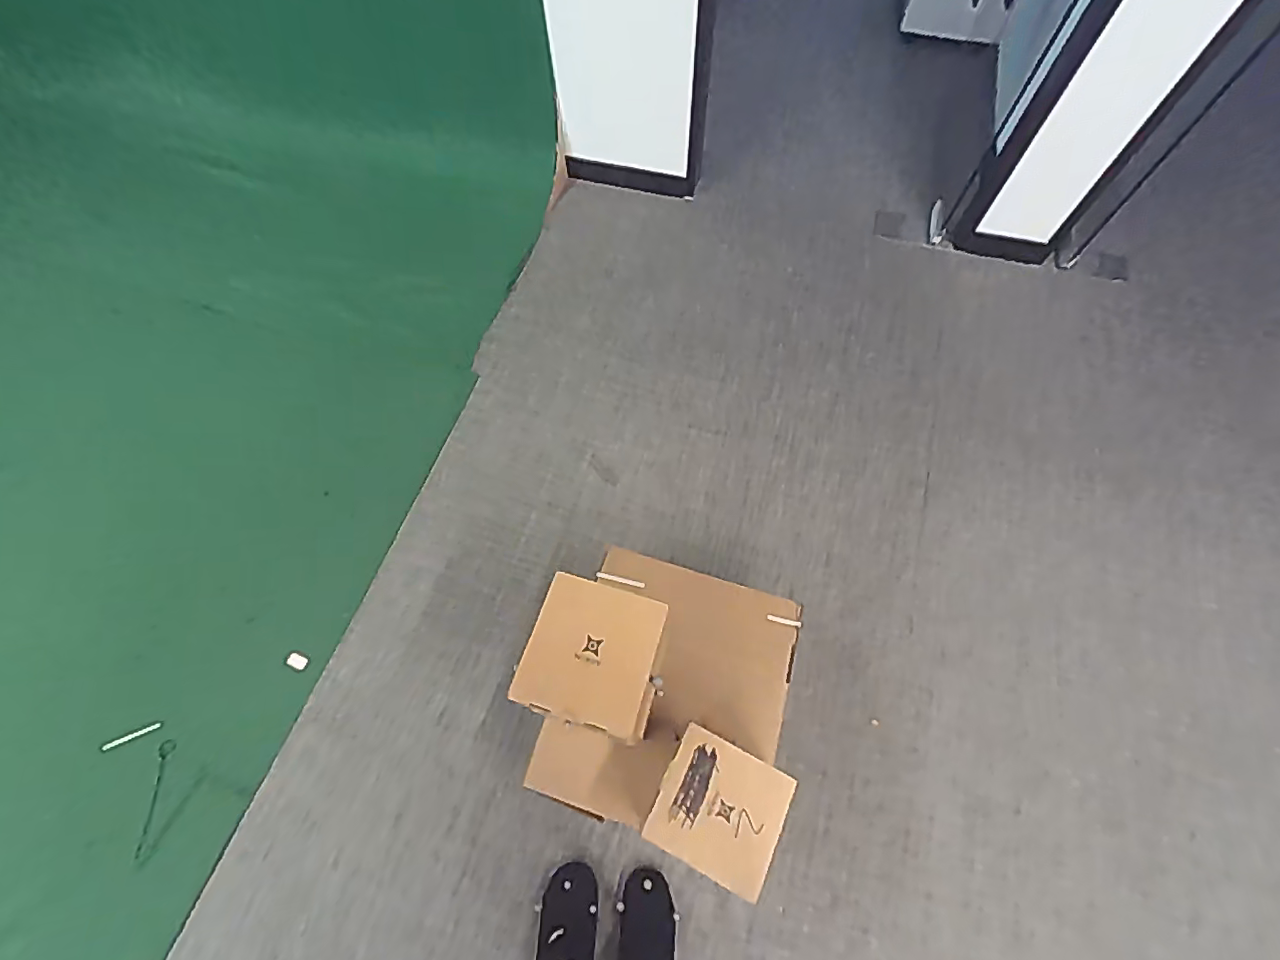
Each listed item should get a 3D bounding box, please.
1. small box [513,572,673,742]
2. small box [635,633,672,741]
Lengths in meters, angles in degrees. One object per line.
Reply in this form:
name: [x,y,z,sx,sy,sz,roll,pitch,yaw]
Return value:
small box: [-0.059,0.258,0.775,0.168,0.176,0.179,16,65,9]
small box: [-0.053,0.331,0.920,0.179,0.176,0.168,14,64,8]
